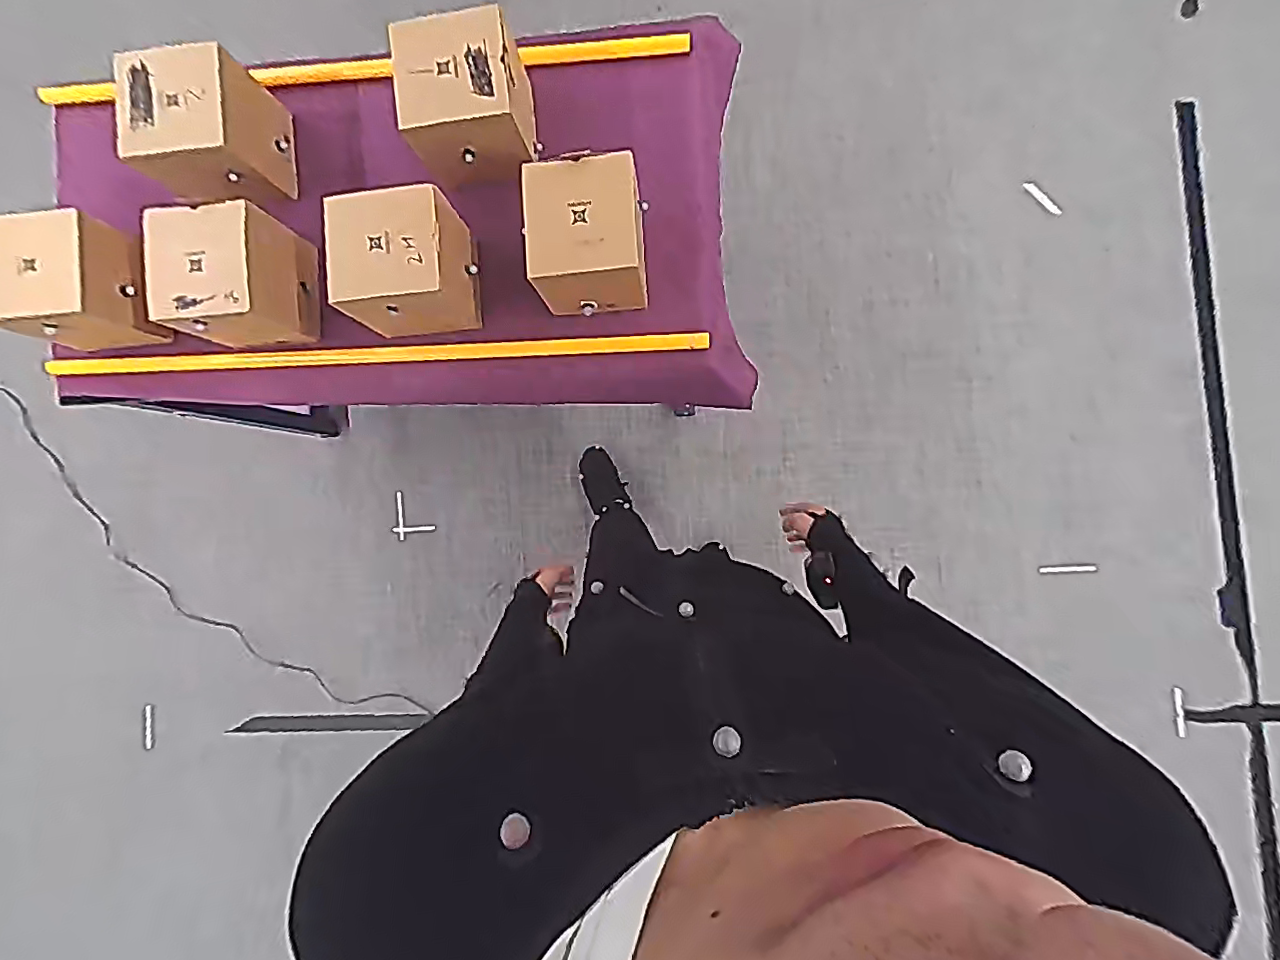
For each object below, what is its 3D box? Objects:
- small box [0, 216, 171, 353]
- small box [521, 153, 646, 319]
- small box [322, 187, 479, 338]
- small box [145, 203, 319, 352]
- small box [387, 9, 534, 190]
[{"bbox_3d":[-0.943,-0.322,0.918,0.179,0.176,0.168,-4,87,4],"label":"small box"},{"bbox_3d":[-0.083,-0.373,0.854,0.168,0.176,0.179,-4,86,6],"label":"small box"},{"bbox_3d":[-0.378,-0.339,0.876,0.179,0.176,0.168,-4,87,5],"label":"small box"},{"bbox_3d":[-0.664,-0.325,0.897,0.168,0.176,0.179,-3,87,6],"label":"small box"},{"bbox_3d":[-0.278,-0.602,0.877,0.179,0.176,0.168,-6,89,5],"label":"small box"}]
